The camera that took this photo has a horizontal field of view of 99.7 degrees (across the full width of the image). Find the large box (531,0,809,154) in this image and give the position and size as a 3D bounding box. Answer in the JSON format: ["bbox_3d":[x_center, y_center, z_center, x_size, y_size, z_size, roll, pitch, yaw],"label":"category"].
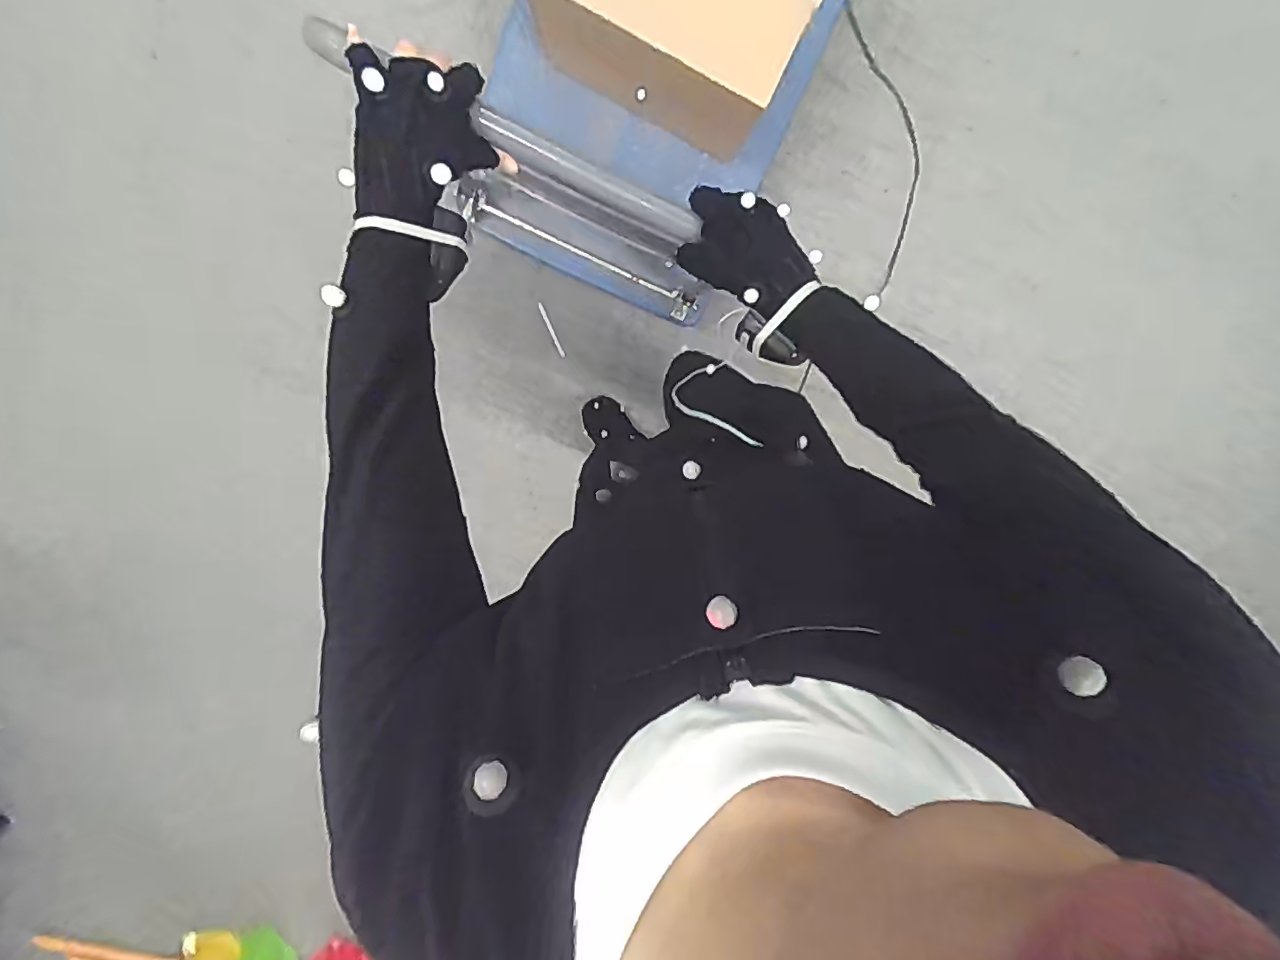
[{"bbox_3d":[0.070,-0.830,0.909,0.408,0.320,0.320,23,104,-7],"label":"large box"}]
